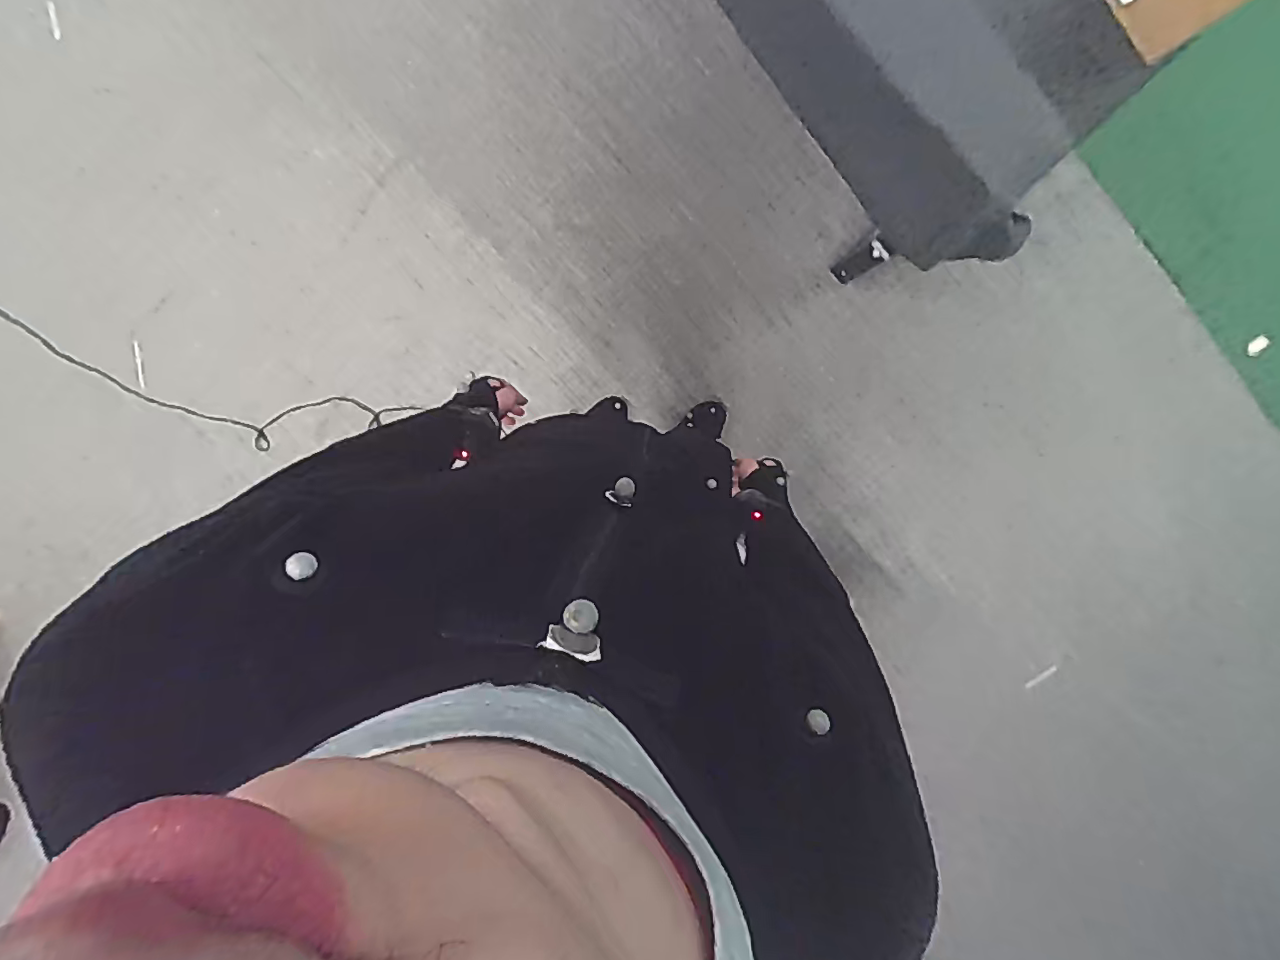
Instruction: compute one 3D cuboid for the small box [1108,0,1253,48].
[{"bbox_3d":[0.646,-0.623,0.584,0.168,0.176,0.179,-39,98,9],"label":"small box"}]
